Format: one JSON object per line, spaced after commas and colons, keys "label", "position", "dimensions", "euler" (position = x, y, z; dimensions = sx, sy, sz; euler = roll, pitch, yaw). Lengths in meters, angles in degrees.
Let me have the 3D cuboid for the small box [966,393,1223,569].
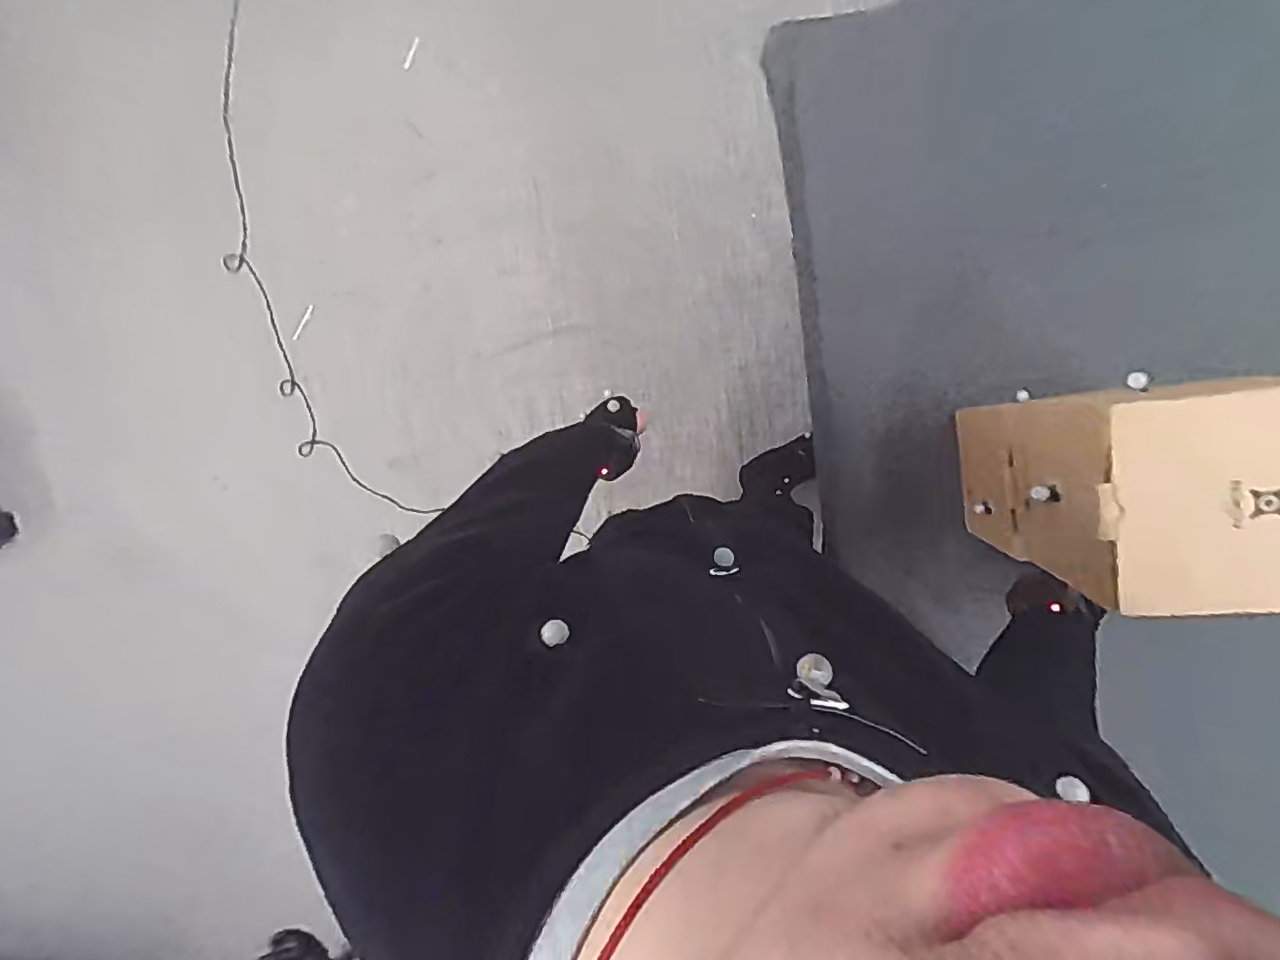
{"label": "small box", "position": [0.498, -0.003, 0.624], "dimensions": [0.179, 0.176, 0.168], "euler": [-7, 95, 14]}
